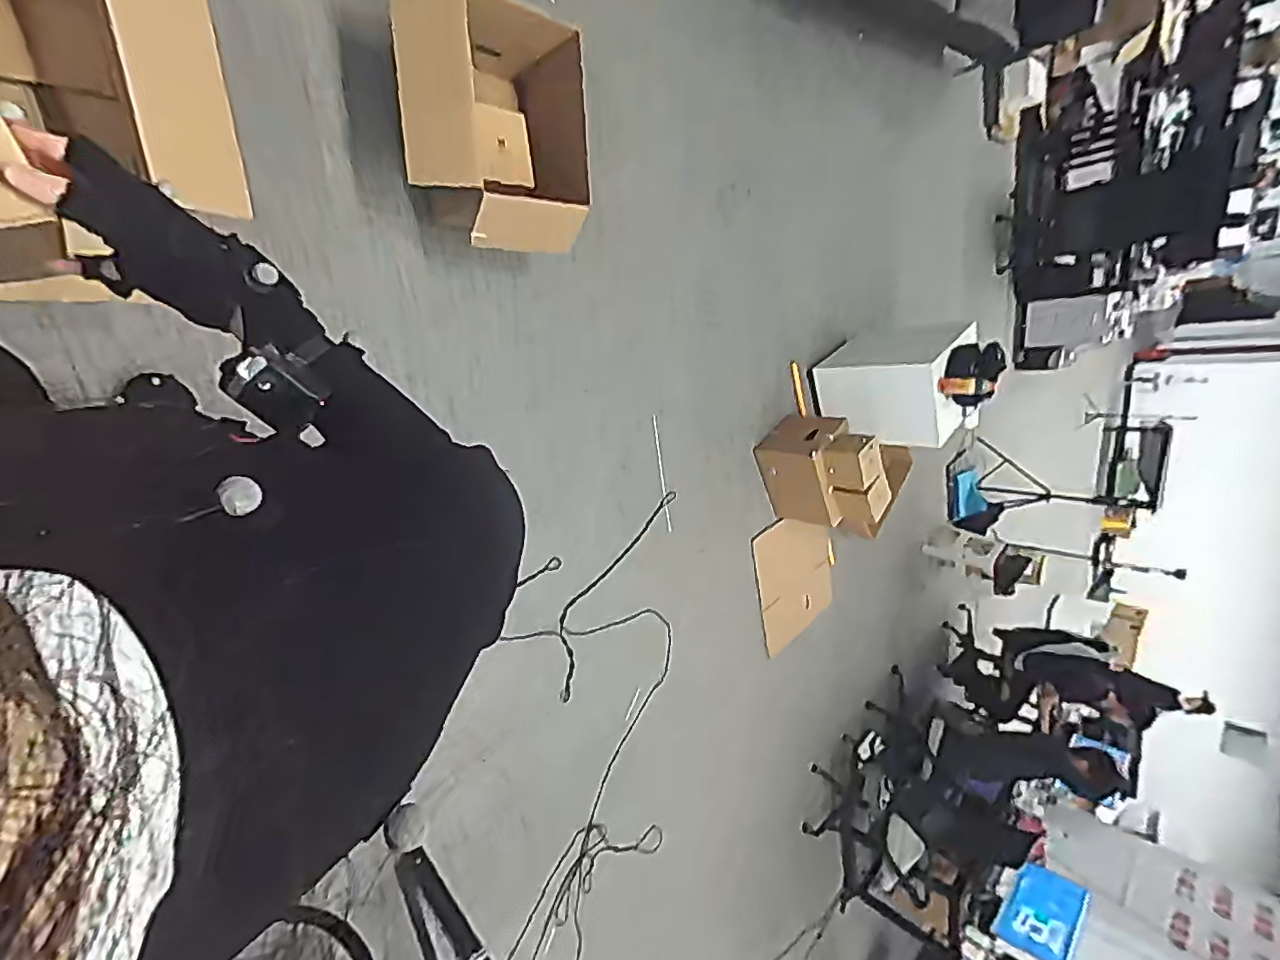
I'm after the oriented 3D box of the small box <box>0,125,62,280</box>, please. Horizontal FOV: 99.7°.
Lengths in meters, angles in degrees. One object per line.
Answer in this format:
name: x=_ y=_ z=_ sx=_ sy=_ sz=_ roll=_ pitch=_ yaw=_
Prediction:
small box: x=-0.496 y=-0.213 z=0.316 sx=0.168 sy=0.176 sz=0.179 roll=-32 pitch=113 yaw=-38
